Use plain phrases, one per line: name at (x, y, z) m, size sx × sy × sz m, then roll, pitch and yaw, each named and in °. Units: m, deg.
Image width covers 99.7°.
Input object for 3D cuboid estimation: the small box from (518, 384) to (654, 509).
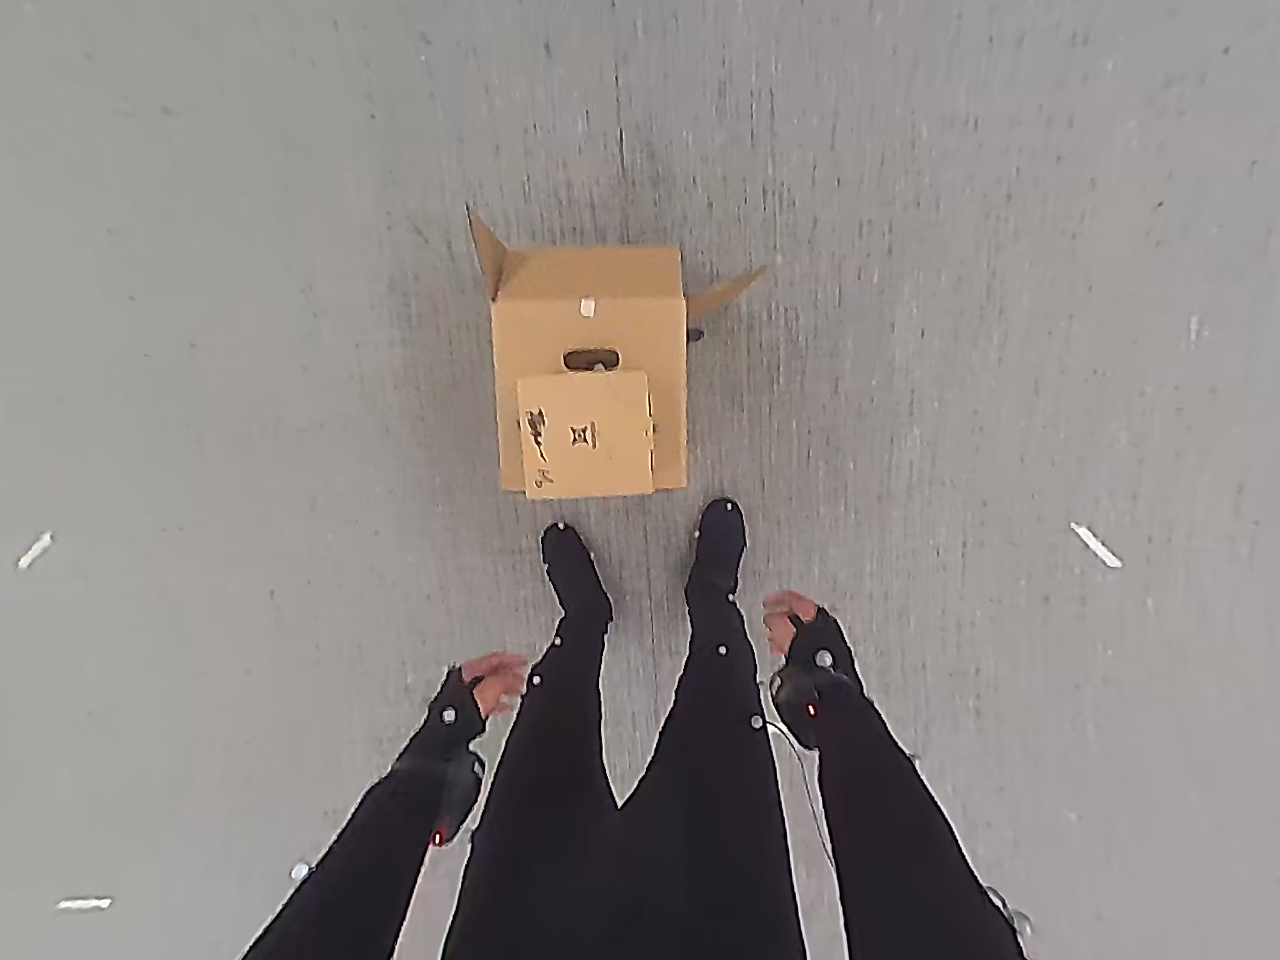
small box at (-0.071, -0.057, 0.800) m, size 0.179 × 0.176 × 0.168 m, roll -2°, pitch 100°, yaw 1°
